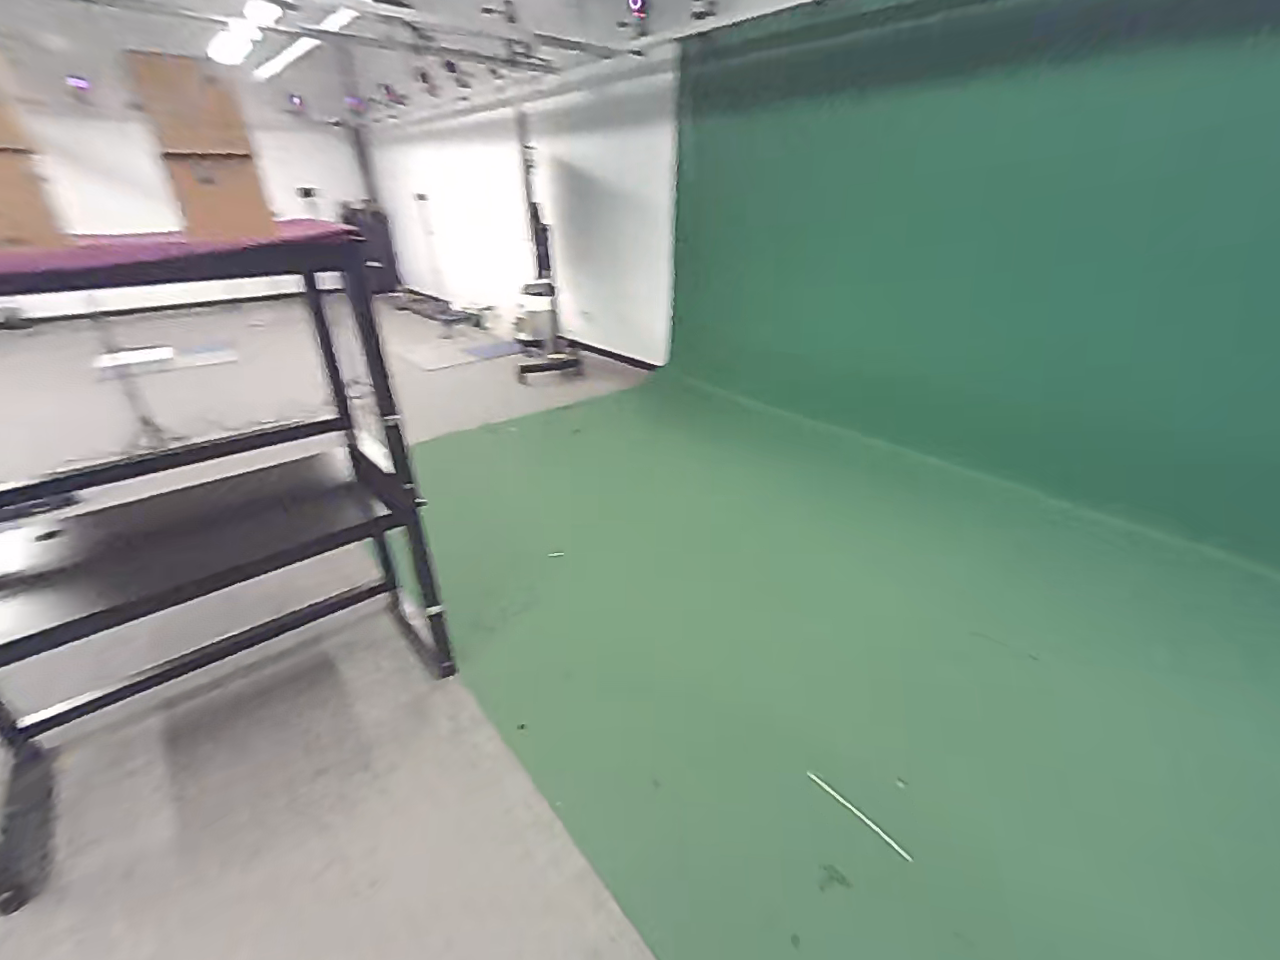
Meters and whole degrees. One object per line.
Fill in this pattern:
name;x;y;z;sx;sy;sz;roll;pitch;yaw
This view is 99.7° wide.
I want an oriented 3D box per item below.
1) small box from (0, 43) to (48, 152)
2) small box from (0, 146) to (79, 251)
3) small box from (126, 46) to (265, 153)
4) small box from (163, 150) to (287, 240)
small box;-1.170;-0.659;0.917;0.179;0.176;0.168;-21;34;-33
small box;-1.186;-0.517;0.996;0.168;0.176;0.179;-19;34;-33
small box;-0.925;-0.777;1.134;0.179;0.176;0.168;-21;33;-33
small box;-0.928;-0.639;1.220;0.179;0.176;0.168;-19;32;-30
